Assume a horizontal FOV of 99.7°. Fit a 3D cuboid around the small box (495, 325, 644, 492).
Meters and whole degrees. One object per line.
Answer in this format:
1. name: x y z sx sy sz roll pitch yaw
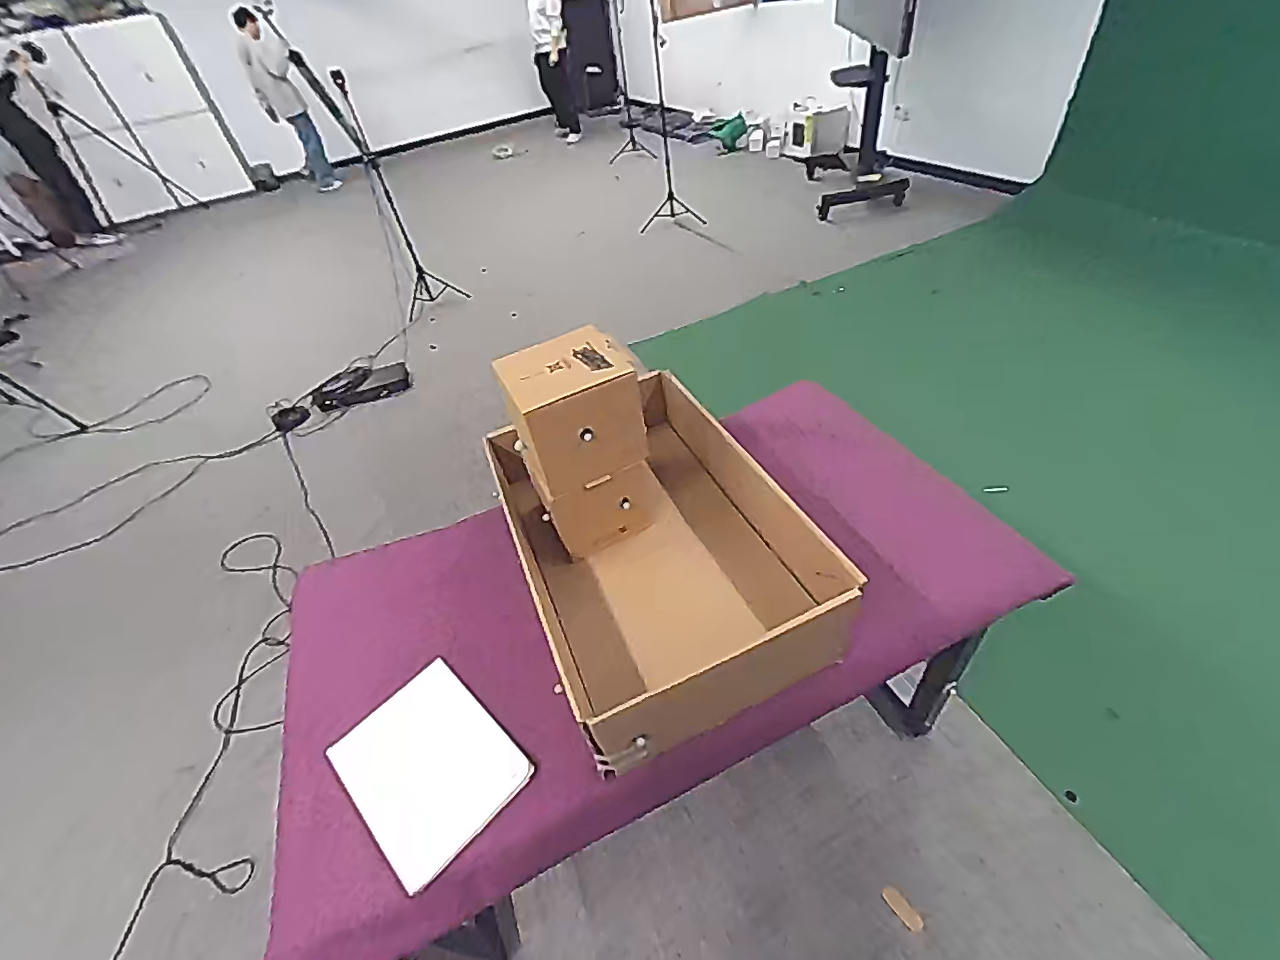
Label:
1. small box: -0.104 -0.113 0.853 0.179 0.176 0.168 -24 46 -14
